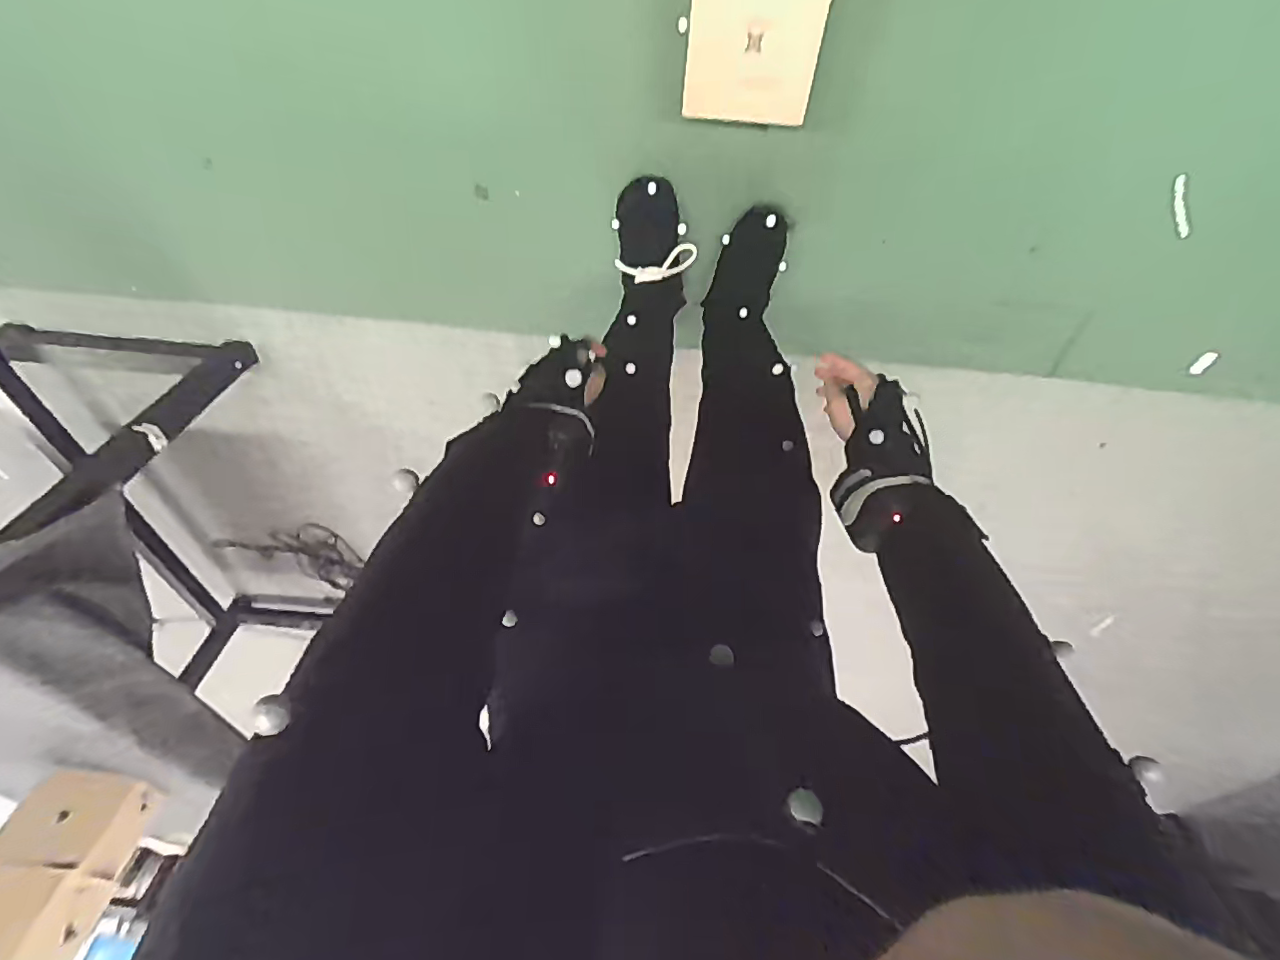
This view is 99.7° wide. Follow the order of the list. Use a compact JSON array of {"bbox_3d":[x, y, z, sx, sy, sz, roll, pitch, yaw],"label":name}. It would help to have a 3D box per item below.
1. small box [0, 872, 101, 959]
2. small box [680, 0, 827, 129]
[{"bbox_3d":[-1.168,0.841,0.998,0.179,0.176,0.168,7,134,-1],"label":"small box"},{"bbox_3d":[0.144,-0.601,0.731,0.168,0.176,0.179,5,135,1],"label":"small box"}]
